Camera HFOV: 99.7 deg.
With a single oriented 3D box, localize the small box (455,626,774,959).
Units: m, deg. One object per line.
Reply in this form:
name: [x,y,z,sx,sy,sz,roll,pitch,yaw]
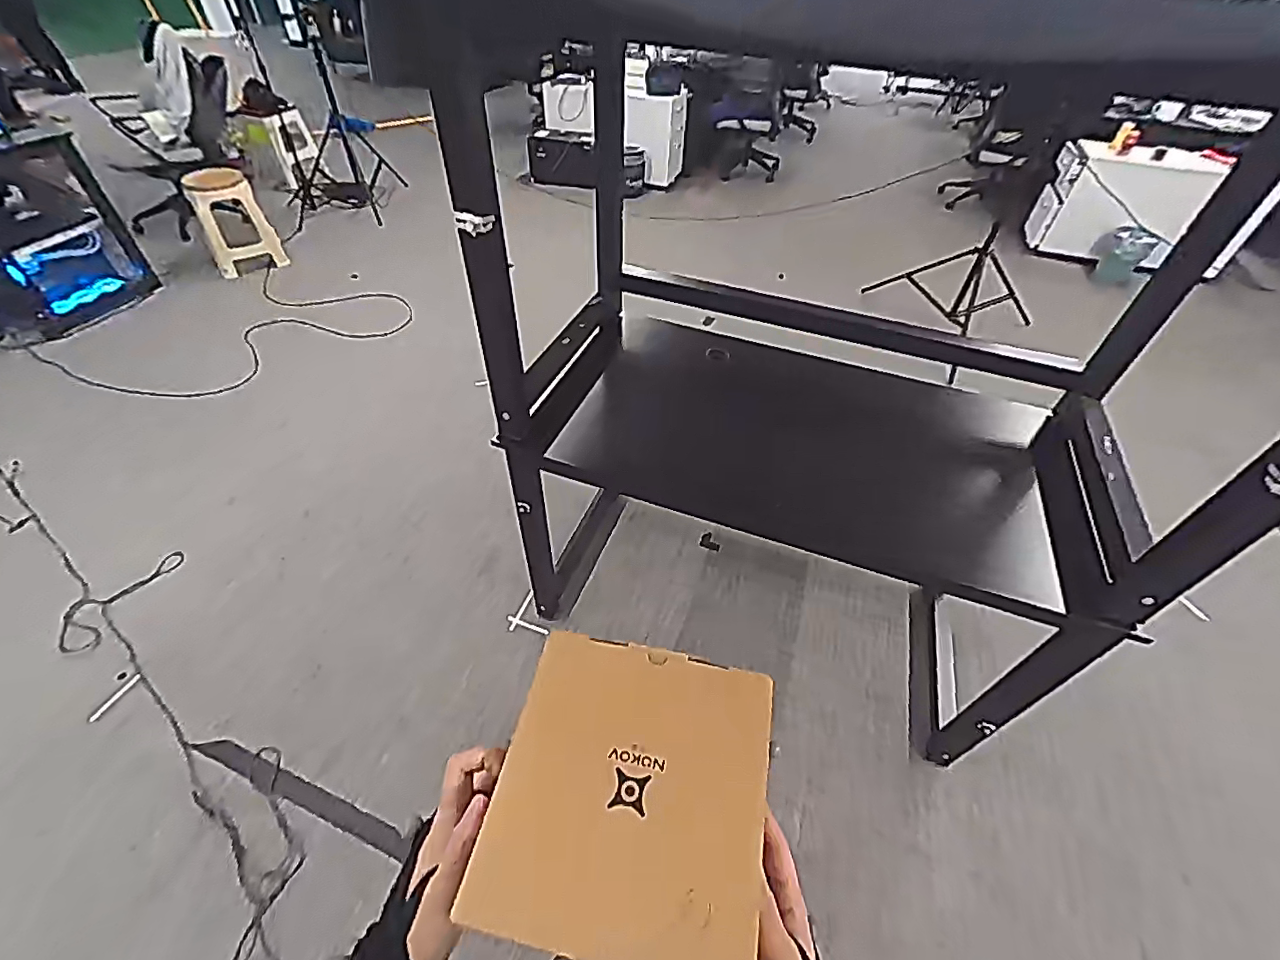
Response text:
small box: [-0.005,0.238,0.394,0.168,0.176,0.179,10,49,7]
